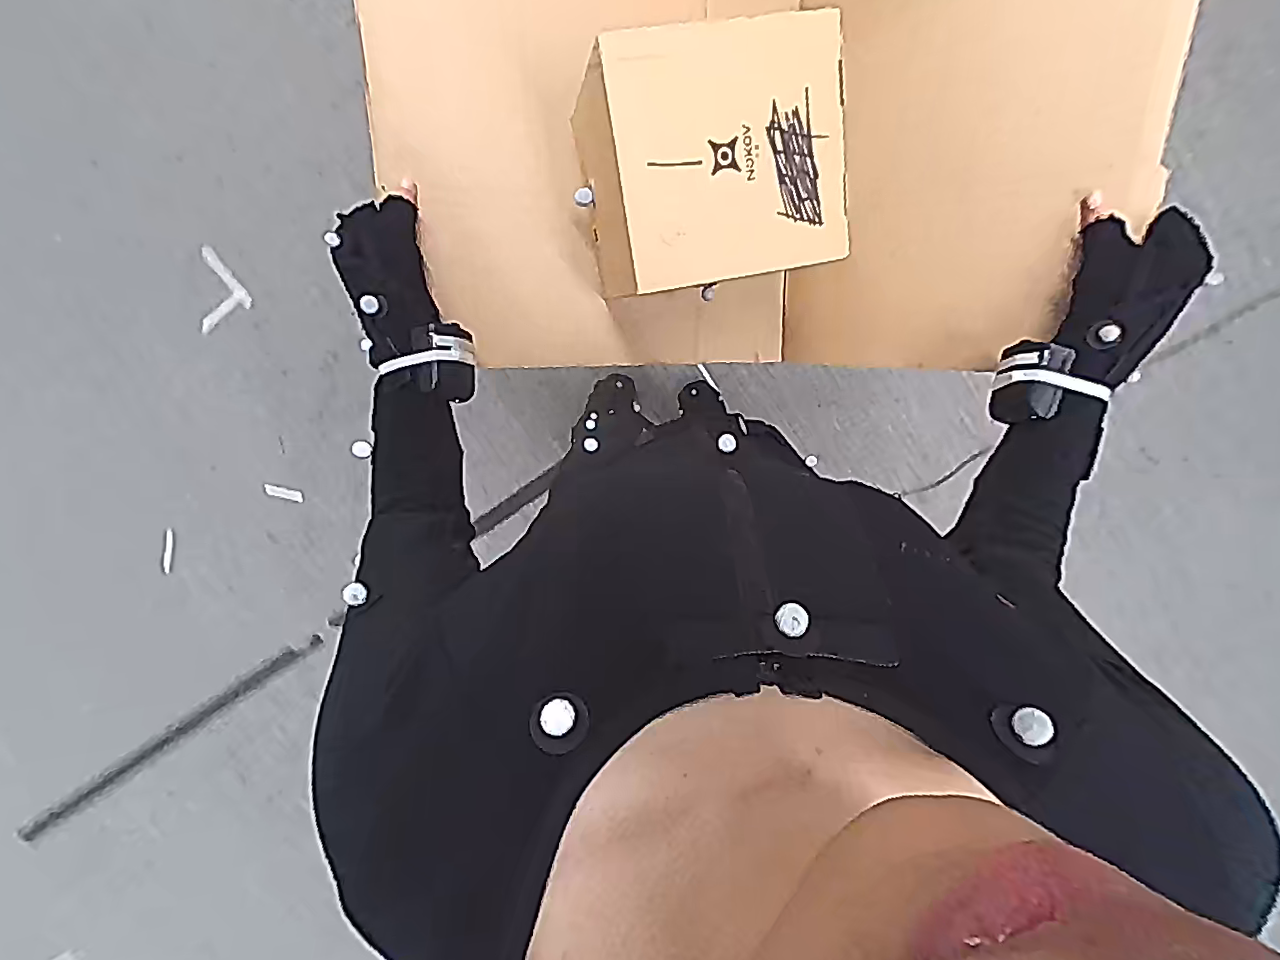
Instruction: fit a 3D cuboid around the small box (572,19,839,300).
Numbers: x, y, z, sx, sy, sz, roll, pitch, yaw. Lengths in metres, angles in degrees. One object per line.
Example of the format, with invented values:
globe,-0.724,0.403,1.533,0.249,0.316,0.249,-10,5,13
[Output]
small box,0.048,-0.258,0.473,0.179,0.176,0.168,-14,109,-8
